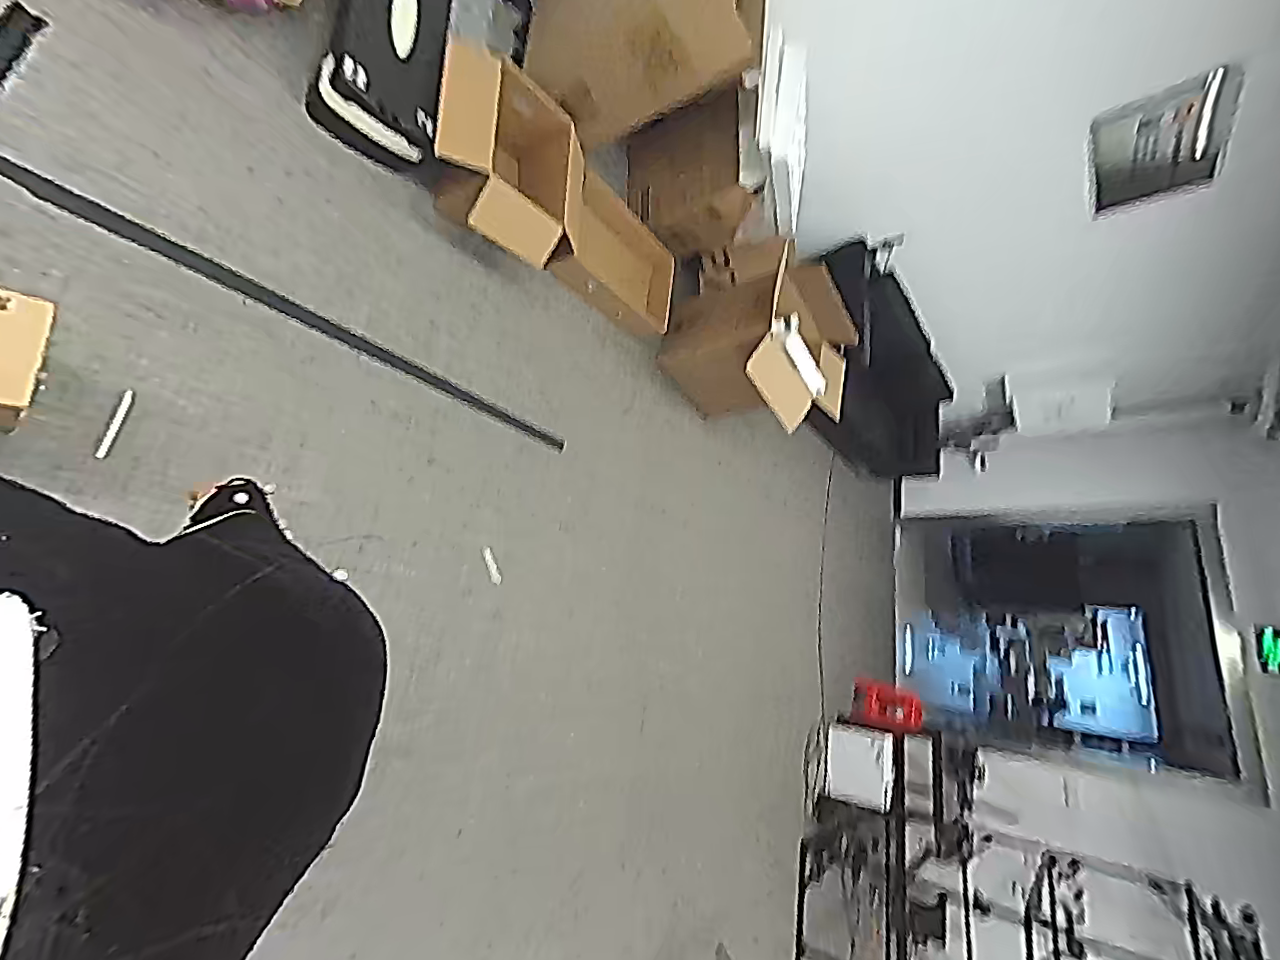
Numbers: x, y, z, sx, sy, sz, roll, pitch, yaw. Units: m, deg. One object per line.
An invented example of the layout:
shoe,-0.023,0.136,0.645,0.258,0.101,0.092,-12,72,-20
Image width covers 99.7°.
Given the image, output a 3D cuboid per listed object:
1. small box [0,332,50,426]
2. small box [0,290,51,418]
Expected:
small box,-1.172,-0.197,0.927,0.179,0.176,0.168,20,70,-49
small box,-1.045,-0.202,0.823,0.168,0.176,0.179,18,72,-50
